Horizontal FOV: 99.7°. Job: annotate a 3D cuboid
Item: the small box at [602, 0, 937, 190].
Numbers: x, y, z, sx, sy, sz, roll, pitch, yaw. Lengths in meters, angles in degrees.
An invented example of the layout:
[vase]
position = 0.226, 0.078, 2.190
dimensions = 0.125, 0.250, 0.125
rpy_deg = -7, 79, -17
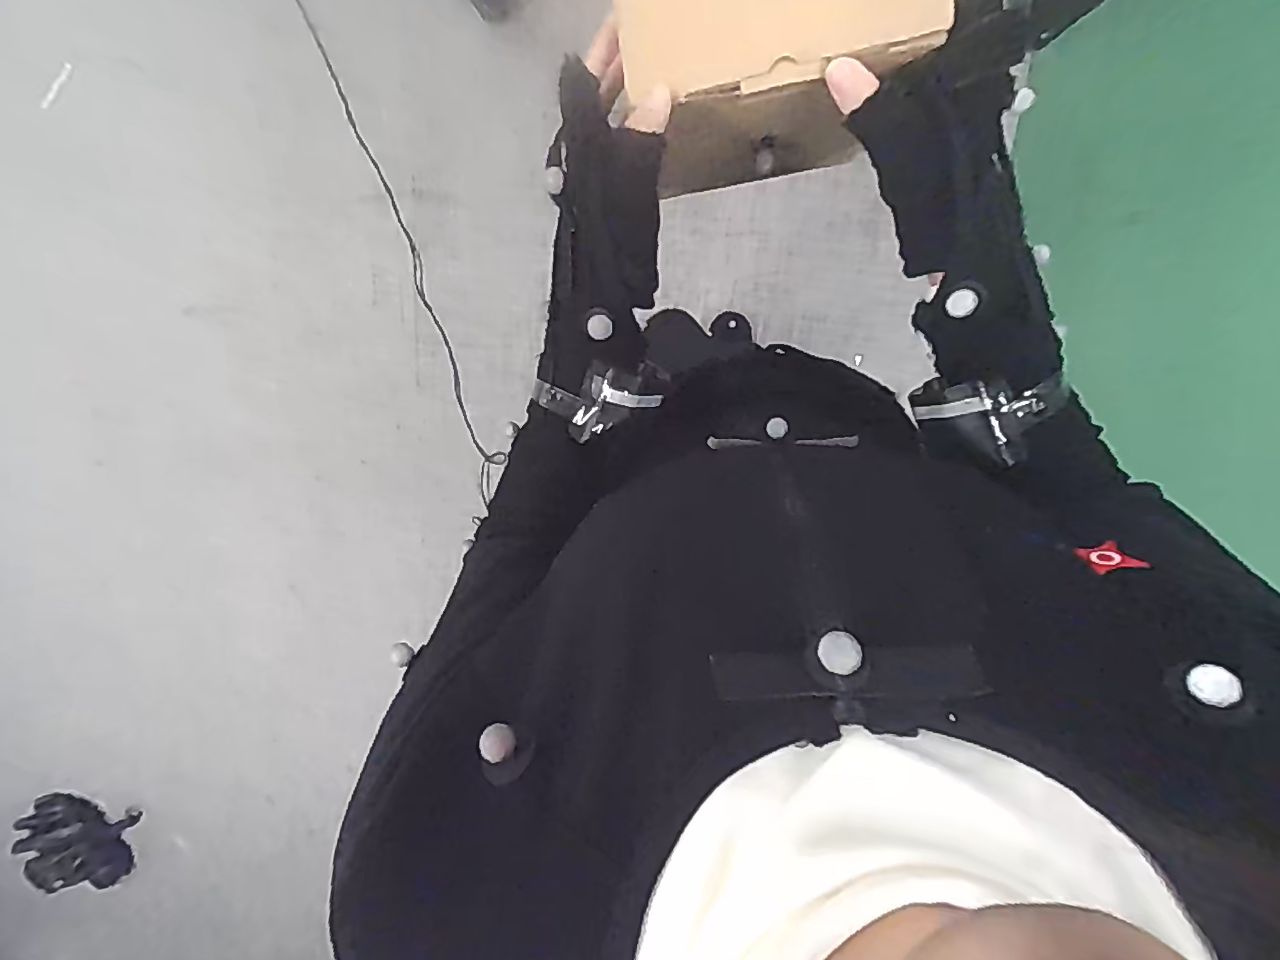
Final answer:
[small box]
position = 0.065, -0.304, 0.341
dimensions = 0.168, 0.176, 0.179
rpy_deg = -8, 102, 8
